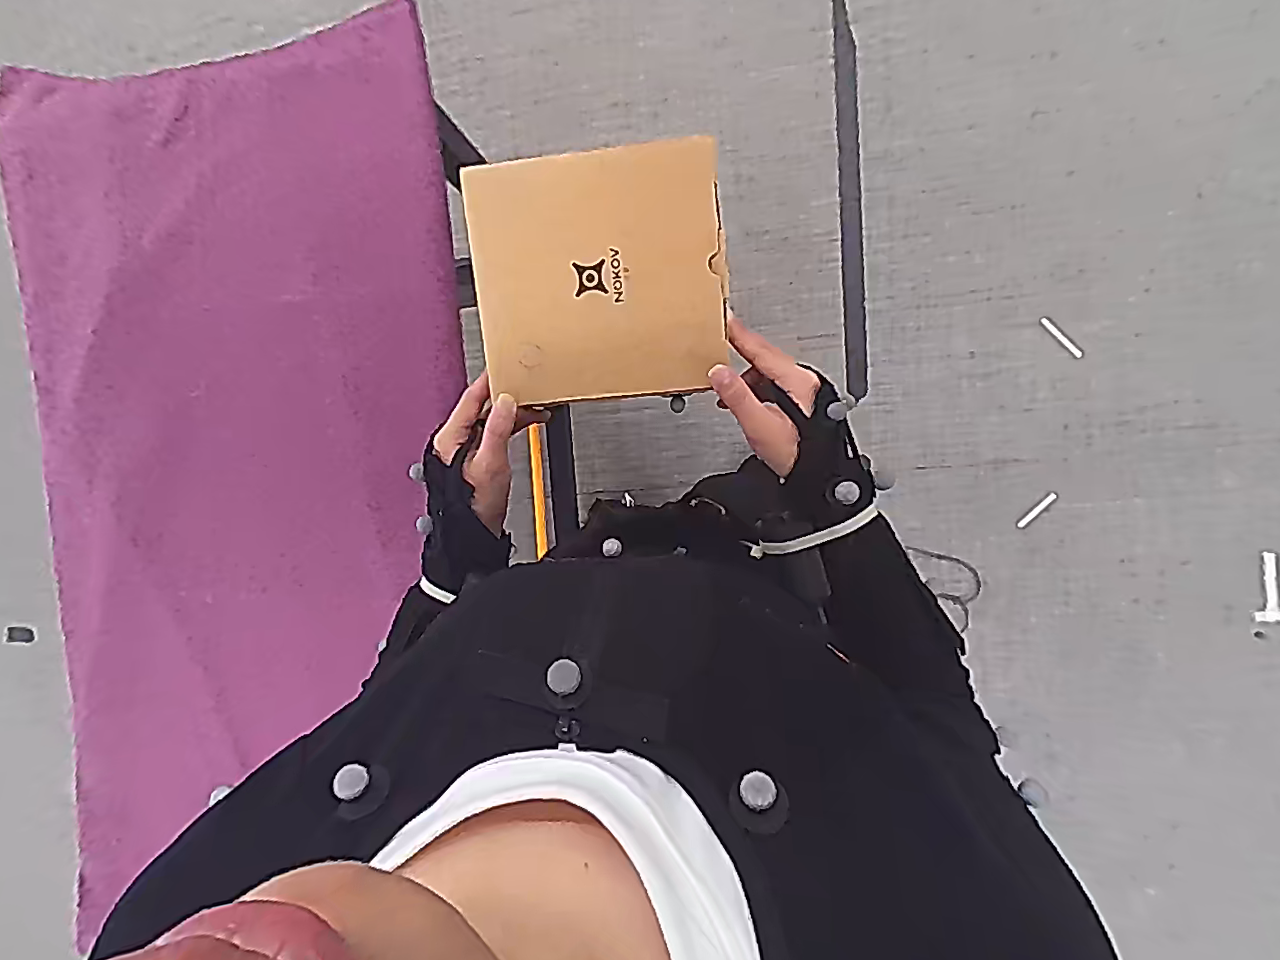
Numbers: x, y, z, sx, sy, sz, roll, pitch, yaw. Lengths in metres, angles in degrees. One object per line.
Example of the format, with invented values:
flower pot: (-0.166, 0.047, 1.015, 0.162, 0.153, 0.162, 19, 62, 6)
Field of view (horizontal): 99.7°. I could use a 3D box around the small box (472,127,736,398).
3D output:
small box: (-0.017, -0.157, 0.451, 0.179, 0.176, 0.168, -4, 99, 5)
